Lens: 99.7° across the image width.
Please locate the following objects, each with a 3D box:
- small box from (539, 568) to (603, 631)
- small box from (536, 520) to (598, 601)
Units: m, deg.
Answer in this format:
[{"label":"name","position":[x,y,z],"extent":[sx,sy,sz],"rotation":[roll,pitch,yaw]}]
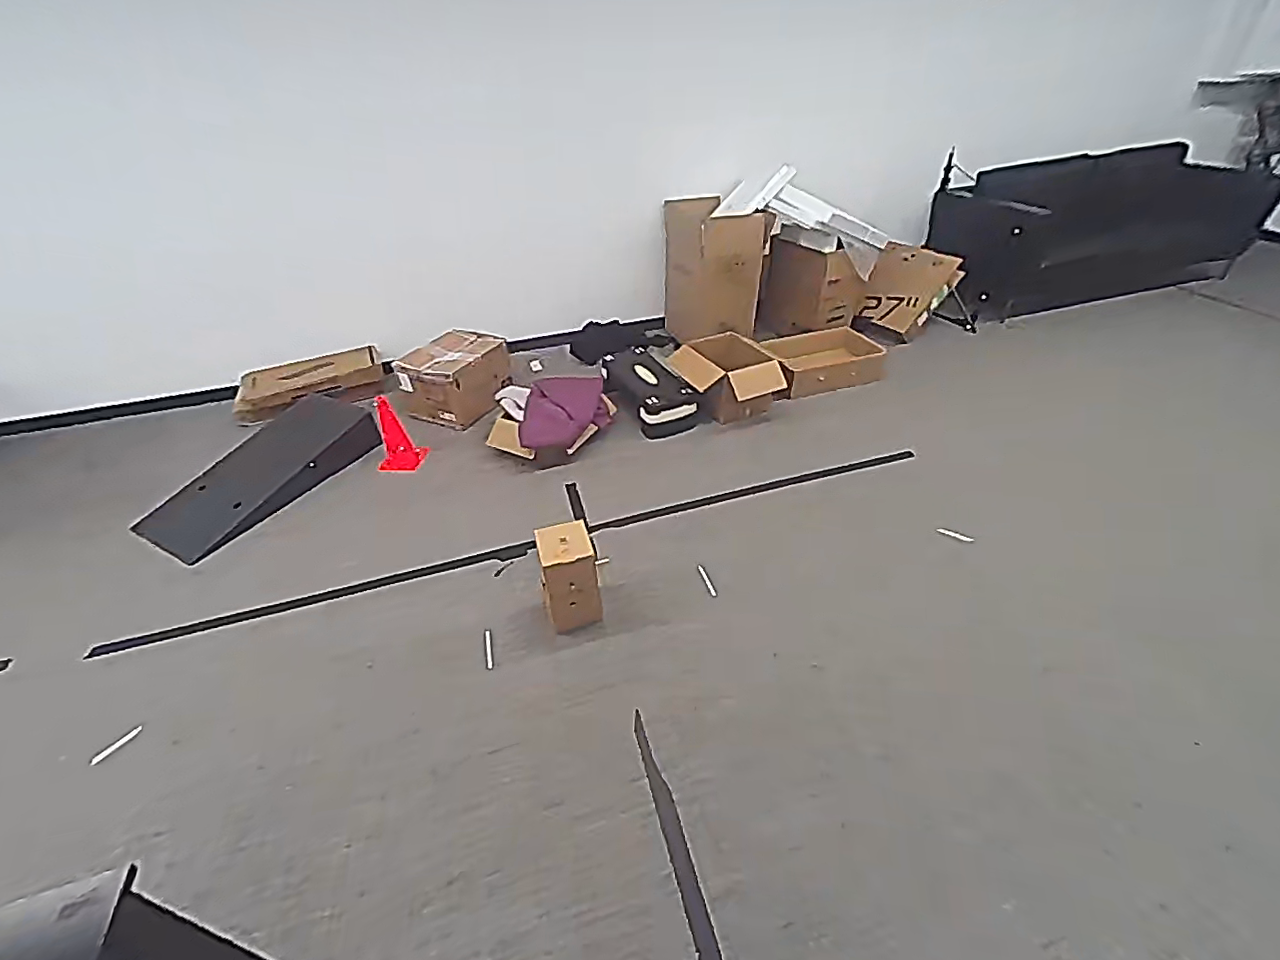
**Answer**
[{"label":"small box","position":[-0.236,0.394,1.865],"extent":[0.179,0.176,0.168],"rotation":[-14,39,-15]},{"label":"small box","position":[-0.238,0.262,1.766],"extent":[0.168,0.176,0.179],"rotation":[-12,39,-12]}]
